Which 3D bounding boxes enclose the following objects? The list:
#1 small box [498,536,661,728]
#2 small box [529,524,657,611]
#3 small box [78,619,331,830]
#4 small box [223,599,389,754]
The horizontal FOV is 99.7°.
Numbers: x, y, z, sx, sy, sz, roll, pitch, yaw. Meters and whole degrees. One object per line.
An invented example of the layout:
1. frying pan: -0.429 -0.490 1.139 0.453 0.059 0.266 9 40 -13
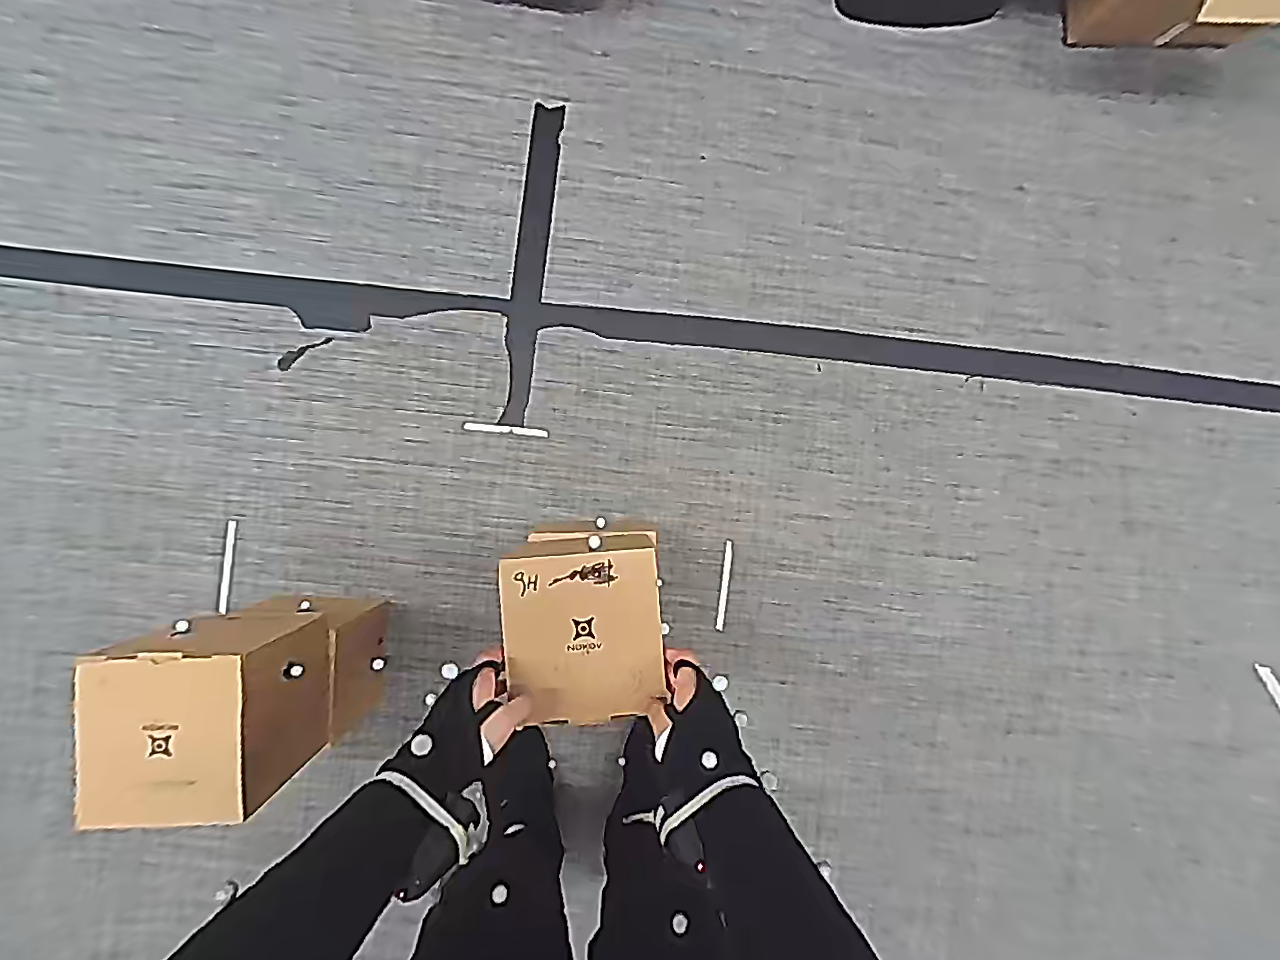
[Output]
1. small box: -0.063 0.167 0.643 0.168 0.176 0.179 -4 90 -2
2. small box: -0.069 0.156 0.814 0.179 0.176 0.168 0 90 -3
3. small box: -0.484 0.265 0.627 0.168 0.176 0.179 -1 92 -2
4. small box: -0.494 0.275 0.789 0.179 0.176 0.168 3 90 -4
